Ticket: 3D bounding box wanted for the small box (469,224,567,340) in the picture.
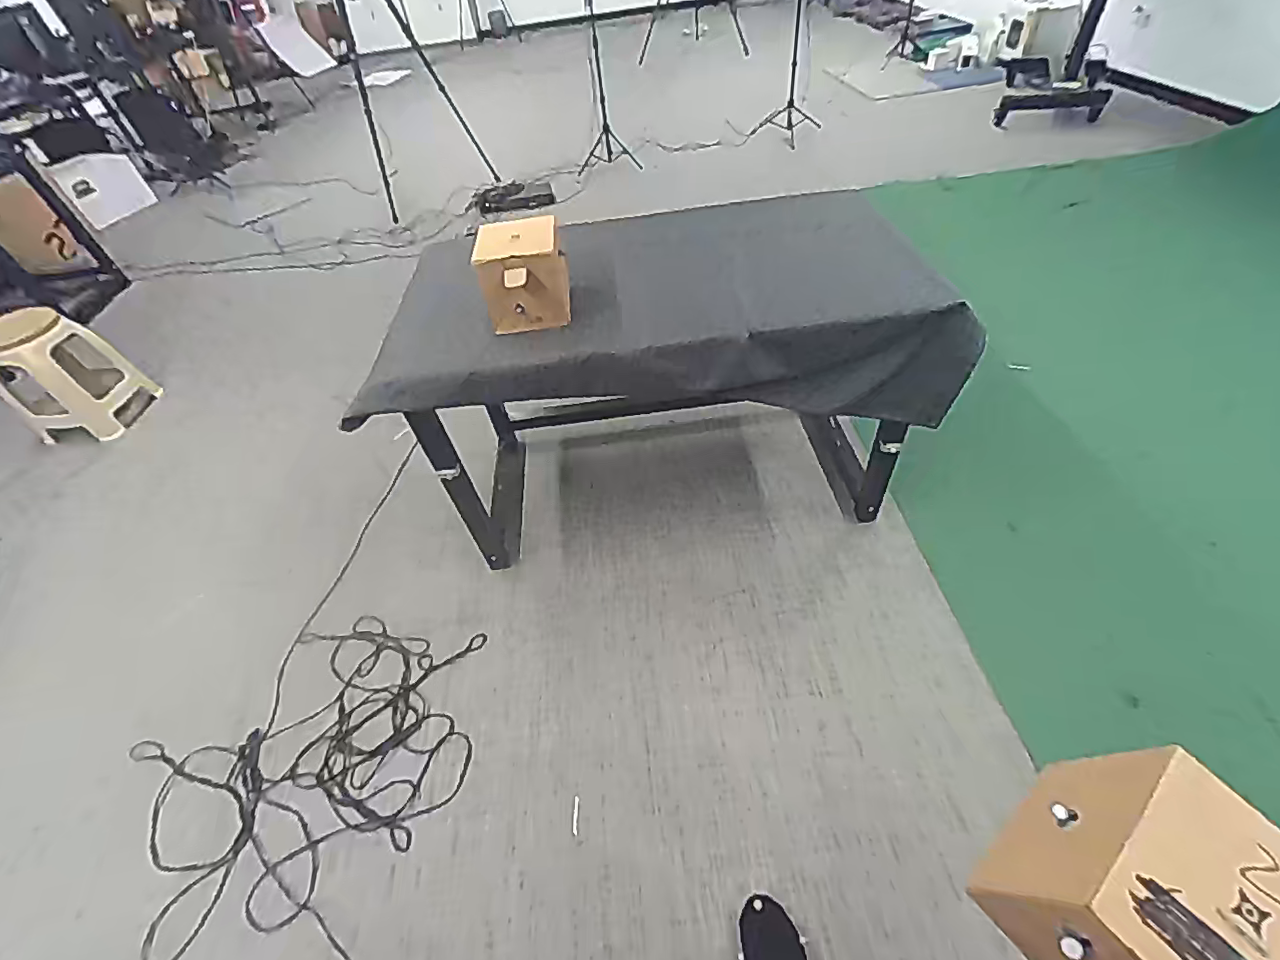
[{"bbox_3d":[-0.253,-0.426,1.167,0.168,0.176,0.179,-8,48,0],"label":"small box"}]
